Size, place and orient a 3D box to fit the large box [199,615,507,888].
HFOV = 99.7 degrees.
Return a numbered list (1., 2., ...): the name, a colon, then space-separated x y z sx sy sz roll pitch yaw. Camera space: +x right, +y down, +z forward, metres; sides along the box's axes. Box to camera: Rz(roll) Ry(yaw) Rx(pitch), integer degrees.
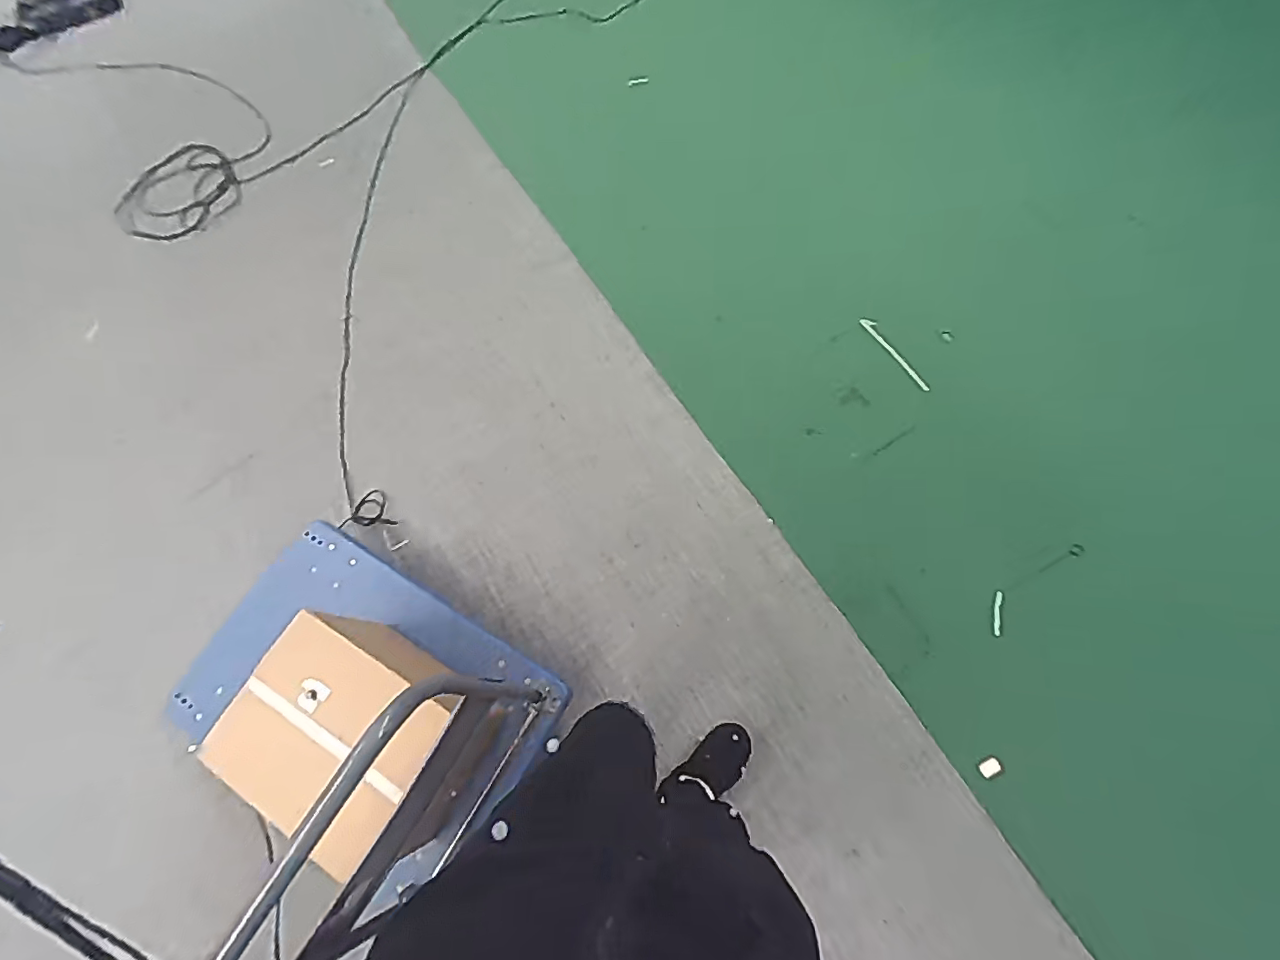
1. large box: -0.563 0.531 1.133 0.408 0.320 0.320 27 74 15
